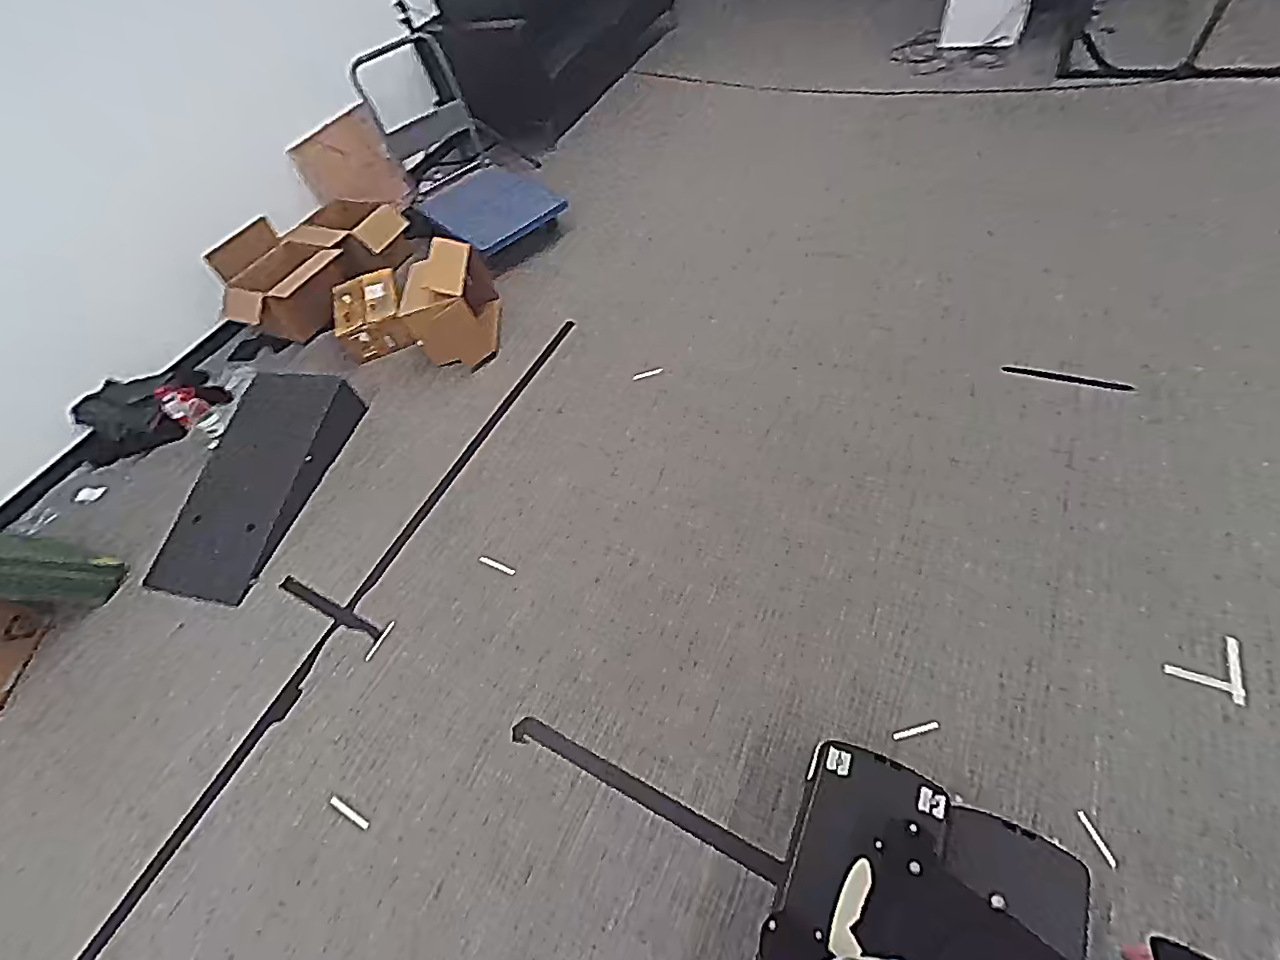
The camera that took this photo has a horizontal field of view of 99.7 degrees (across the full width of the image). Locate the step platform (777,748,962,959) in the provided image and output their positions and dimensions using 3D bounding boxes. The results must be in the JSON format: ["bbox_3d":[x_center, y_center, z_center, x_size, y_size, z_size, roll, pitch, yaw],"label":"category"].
[{"bbox_3d":[0.452,0.943,1.125,0.286,0.204,0.684,16,60,22],"label":"step platform"}]
